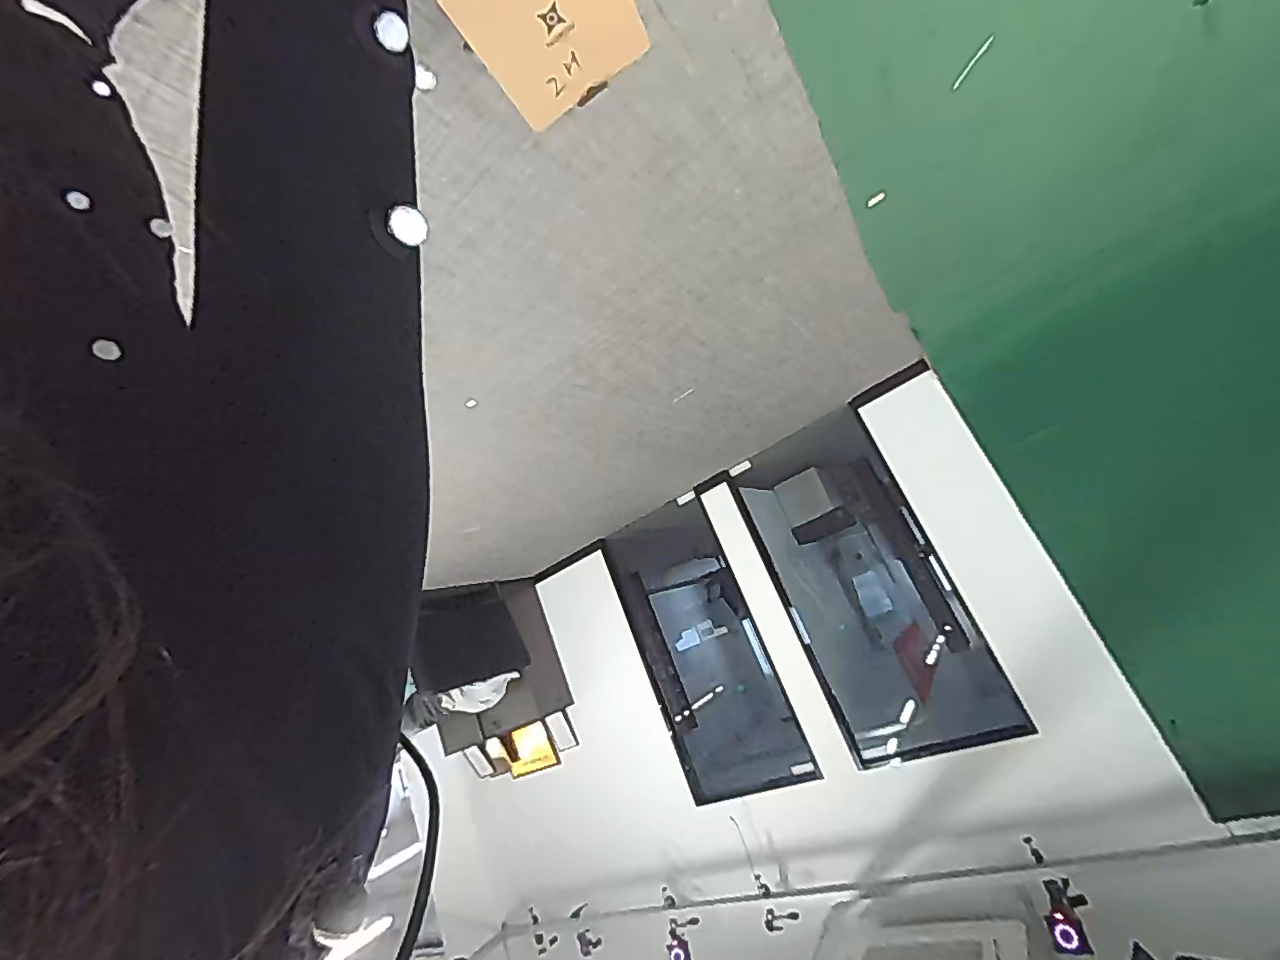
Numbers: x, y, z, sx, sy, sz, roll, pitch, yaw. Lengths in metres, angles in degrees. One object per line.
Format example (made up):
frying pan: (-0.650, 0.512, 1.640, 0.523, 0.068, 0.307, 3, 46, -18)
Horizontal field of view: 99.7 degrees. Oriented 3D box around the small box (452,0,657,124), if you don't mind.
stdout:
small box: (-0.108, -0.540, 0.564, 0.168, 0.176, 0.179, -25, 164, 16)
